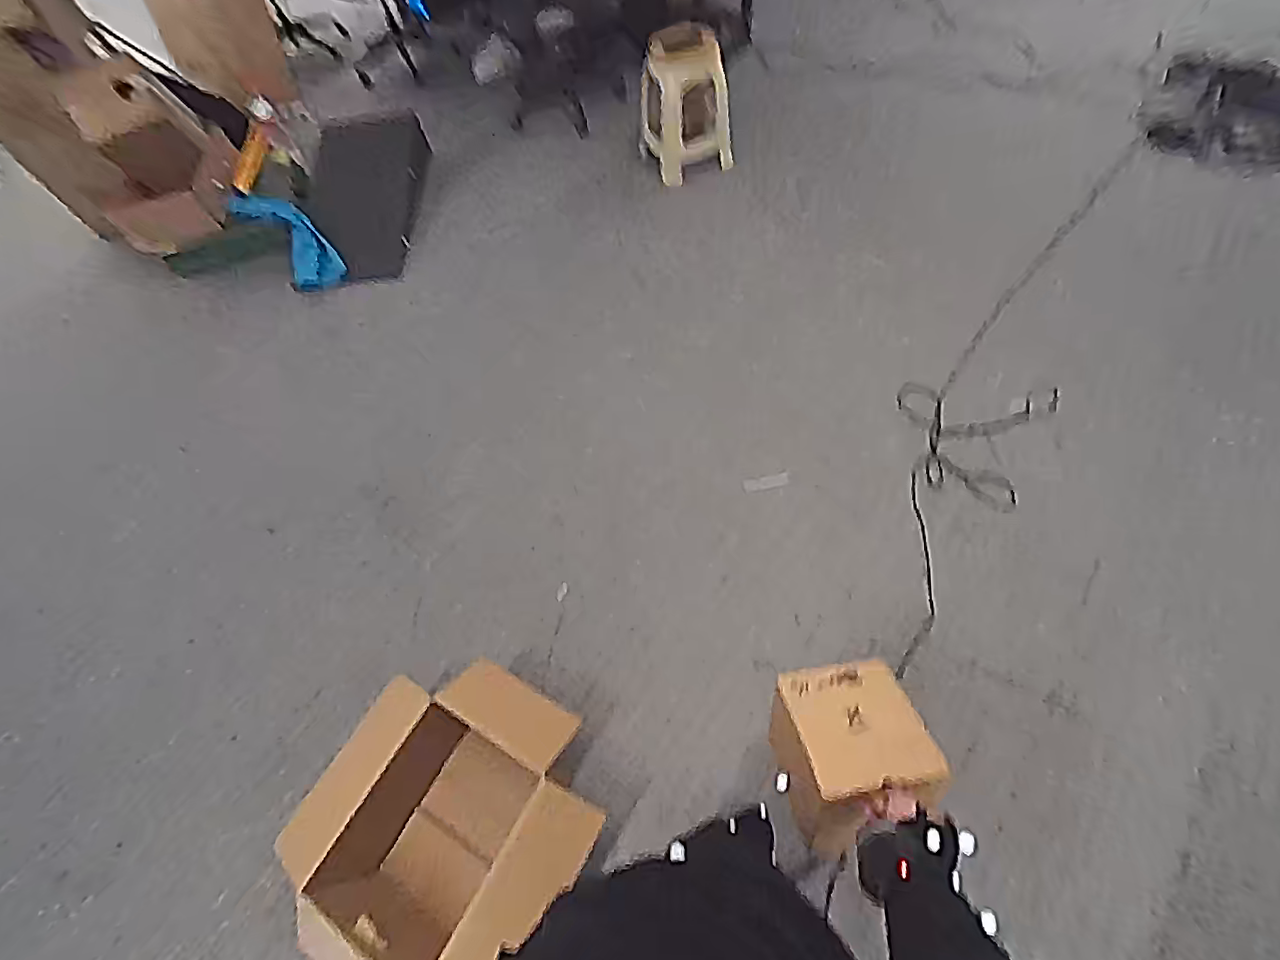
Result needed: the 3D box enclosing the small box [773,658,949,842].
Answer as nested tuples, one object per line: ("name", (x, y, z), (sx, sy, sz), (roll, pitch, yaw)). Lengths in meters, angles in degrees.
("small box", (0.297, 0.385, 0.769), (0.168, 0.176, 0.179), (-6, 34, -3))
